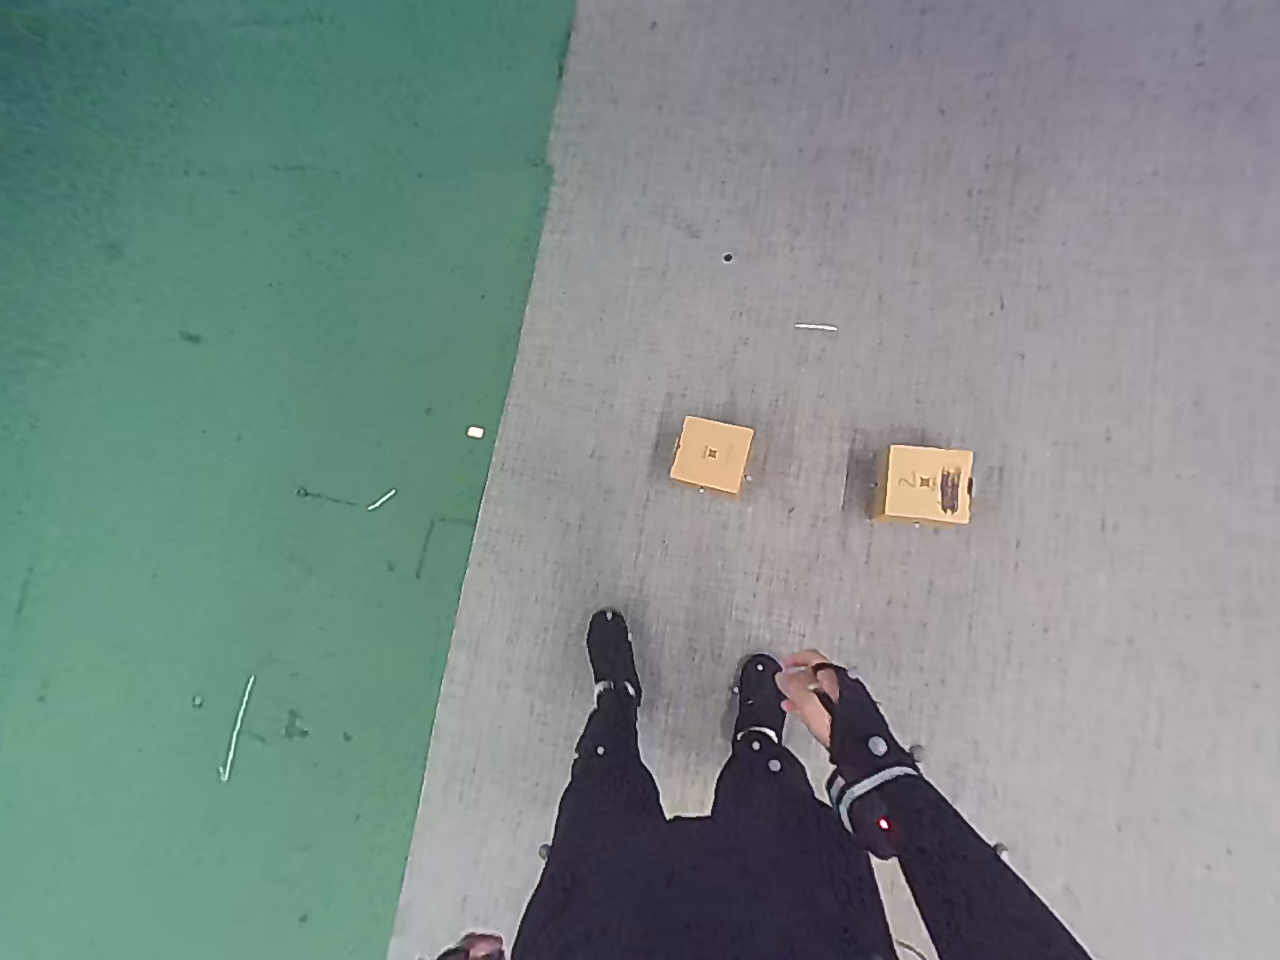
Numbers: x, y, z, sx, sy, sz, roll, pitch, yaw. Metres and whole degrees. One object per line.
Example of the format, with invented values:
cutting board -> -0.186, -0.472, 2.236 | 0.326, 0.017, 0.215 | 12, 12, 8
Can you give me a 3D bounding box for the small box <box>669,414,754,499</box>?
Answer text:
small box -> 0.190, -0.054, 1.407 | 0.179, 0.176, 0.168 | 15, 84, 14
